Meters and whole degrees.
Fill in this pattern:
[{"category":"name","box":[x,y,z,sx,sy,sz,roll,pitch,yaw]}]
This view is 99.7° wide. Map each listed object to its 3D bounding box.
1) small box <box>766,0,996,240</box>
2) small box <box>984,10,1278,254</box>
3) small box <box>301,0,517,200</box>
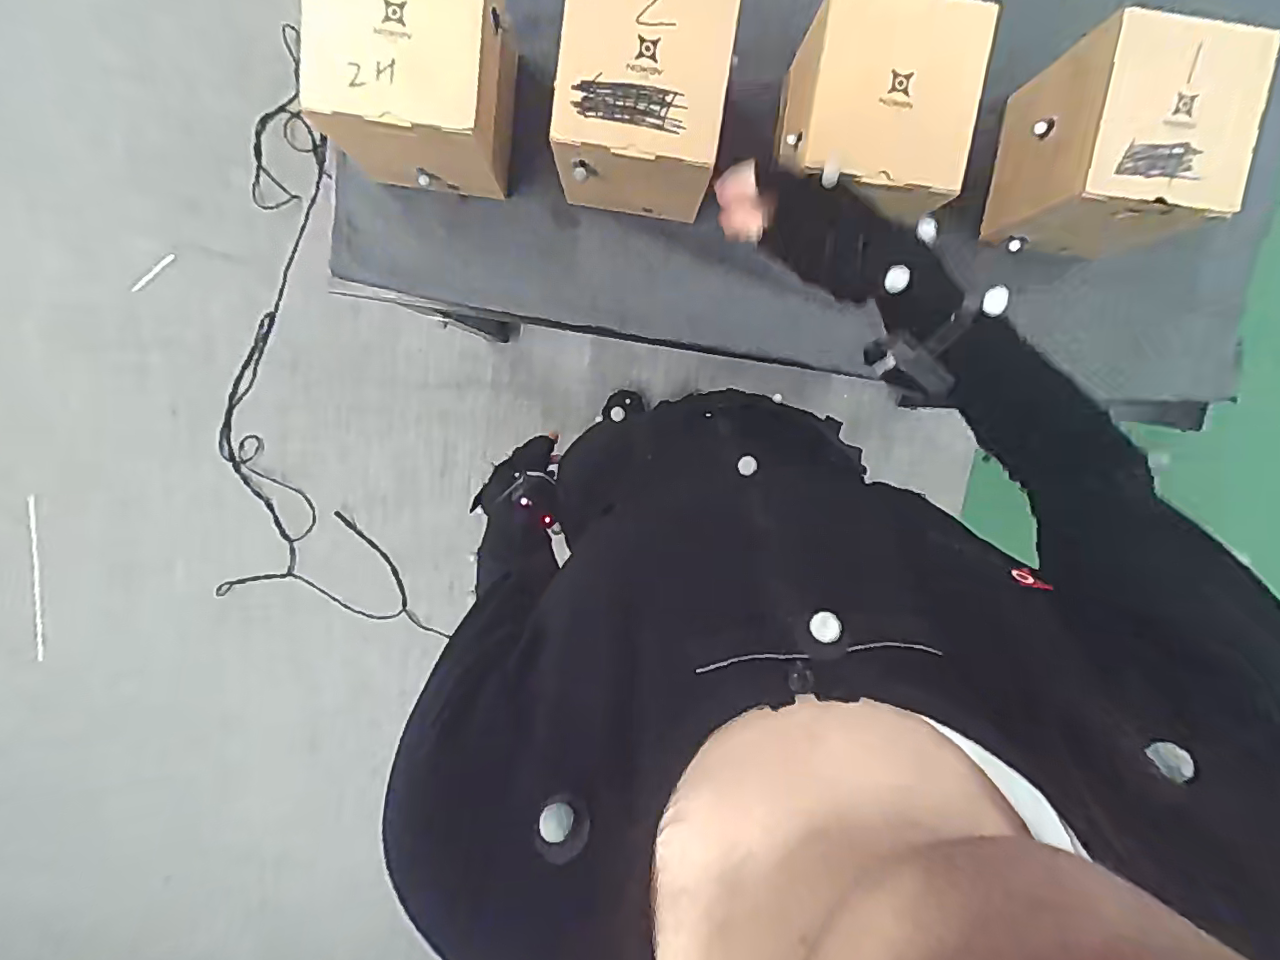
[{"category":"small box","box":[0.253,-0.395,0.612,0.168,0.176,0.179,7,99,-3]},{"category":"small box","box":[0.535,-0.375,0.620,0.168,0.176,0.179,7,97,-3]},{"category":"small box","box":[-0.232,-0.435,0.584,0.168,0.176,0.179,6,97,-4]}]
